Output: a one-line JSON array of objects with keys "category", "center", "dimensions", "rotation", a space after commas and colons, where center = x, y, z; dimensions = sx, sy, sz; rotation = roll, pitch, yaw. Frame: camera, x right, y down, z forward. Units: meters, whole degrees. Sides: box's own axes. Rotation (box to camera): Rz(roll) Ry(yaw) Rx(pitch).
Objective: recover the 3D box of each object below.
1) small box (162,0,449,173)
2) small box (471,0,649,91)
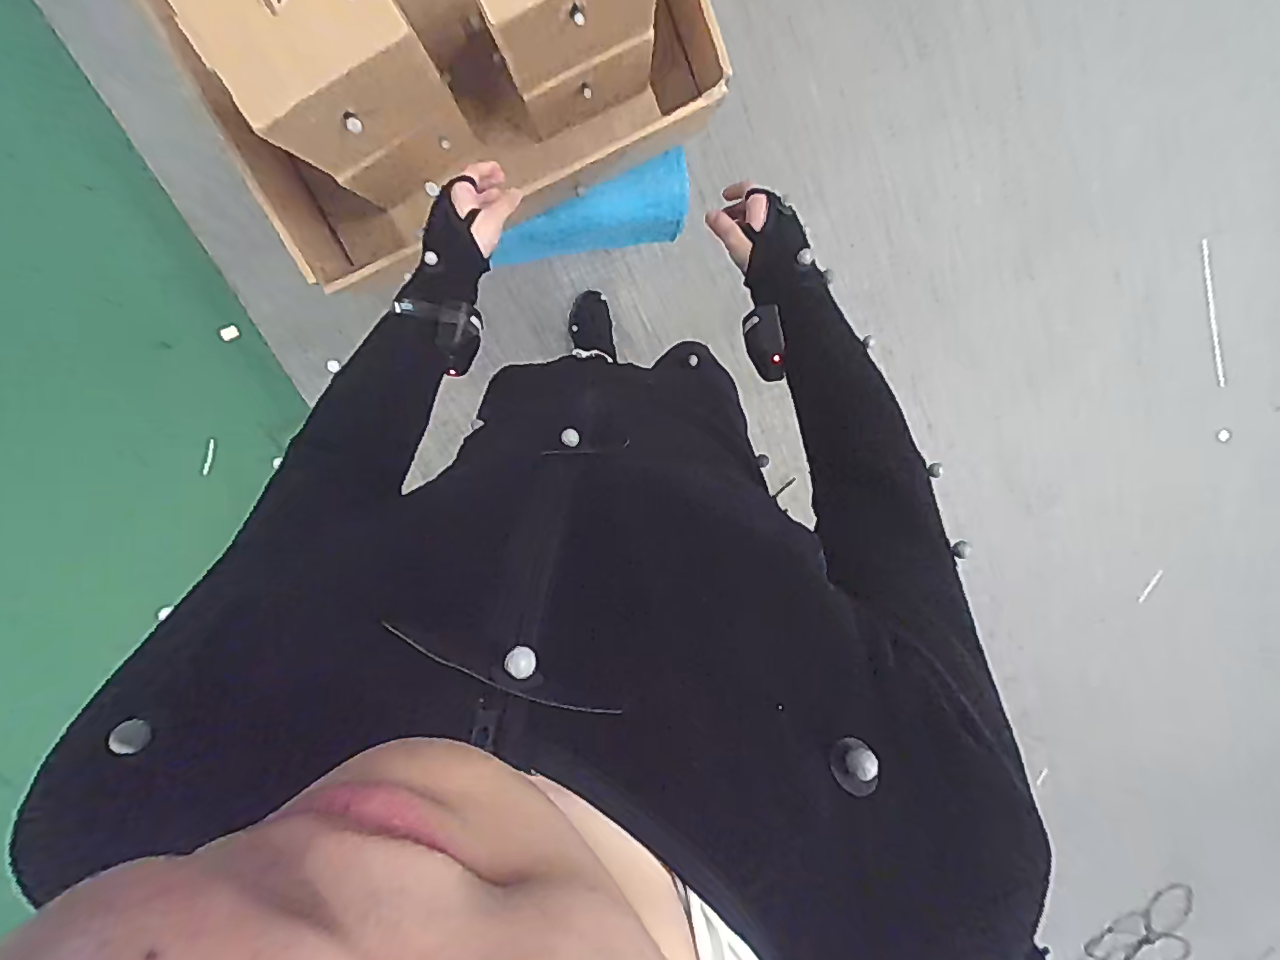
[{"category": "small box", "center": [-0.329, -0.451, 0.554], "dimensions": [0.179, 0.176, 0.168], "rotation": [-29, 107, 5]}, {"category": "small box", "center": [-0.094, -0.537, 0.541], "dimensions": [0.179, 0.176, 0.168], "rotation": [-23, 107, 5]}]
